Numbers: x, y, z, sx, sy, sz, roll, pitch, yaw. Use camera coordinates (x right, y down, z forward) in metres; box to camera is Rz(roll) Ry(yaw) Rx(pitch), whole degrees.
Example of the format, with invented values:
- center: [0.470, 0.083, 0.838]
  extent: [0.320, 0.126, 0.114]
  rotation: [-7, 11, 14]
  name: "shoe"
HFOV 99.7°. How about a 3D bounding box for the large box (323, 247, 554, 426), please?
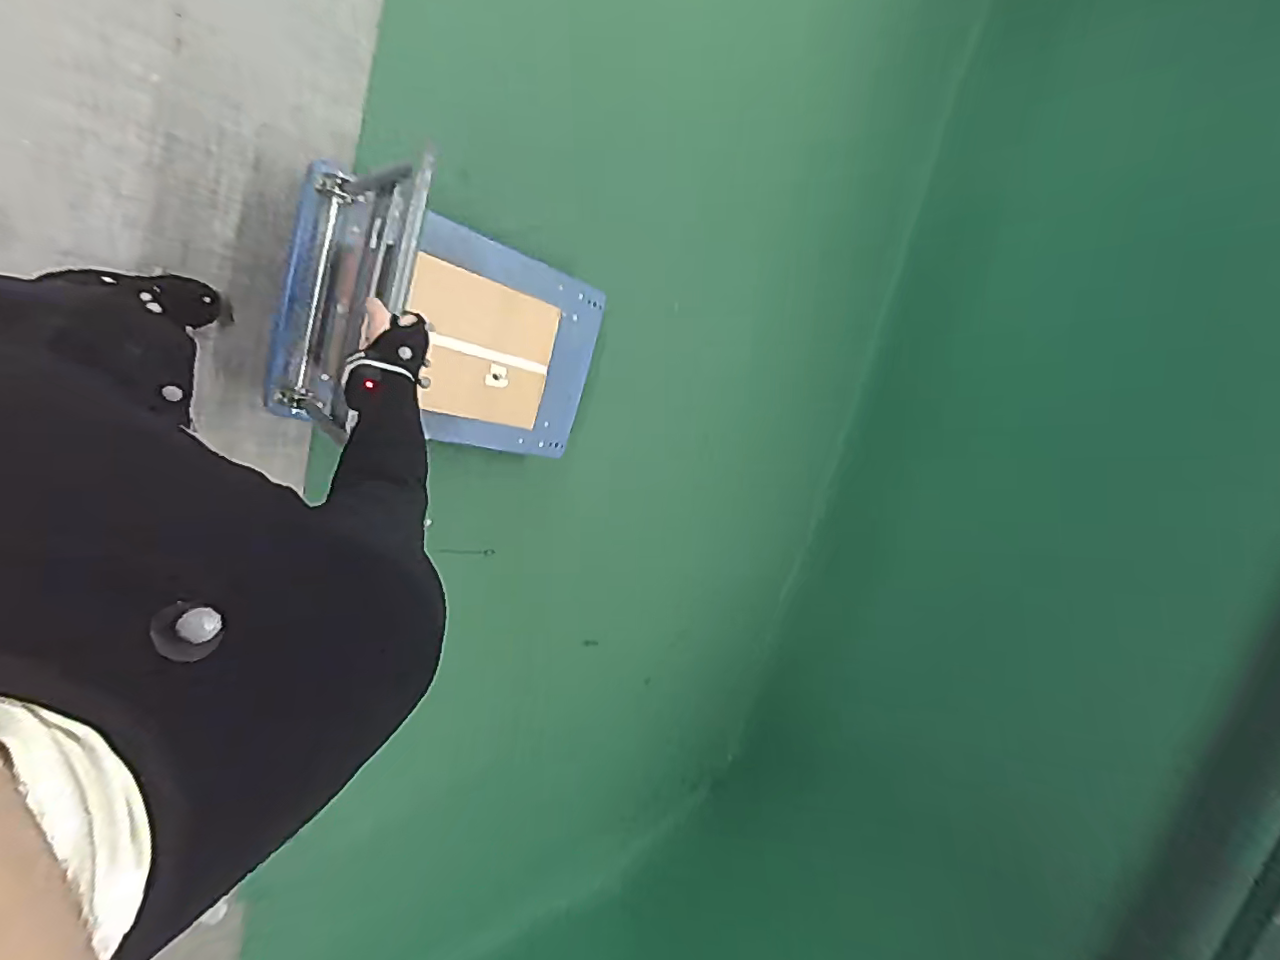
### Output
- center: [-0.488, -0.340, 1.316]
  extent: [0.408, 0.320, 0.320]
  rotation: [8, 102, -48]
  name: "large box"
